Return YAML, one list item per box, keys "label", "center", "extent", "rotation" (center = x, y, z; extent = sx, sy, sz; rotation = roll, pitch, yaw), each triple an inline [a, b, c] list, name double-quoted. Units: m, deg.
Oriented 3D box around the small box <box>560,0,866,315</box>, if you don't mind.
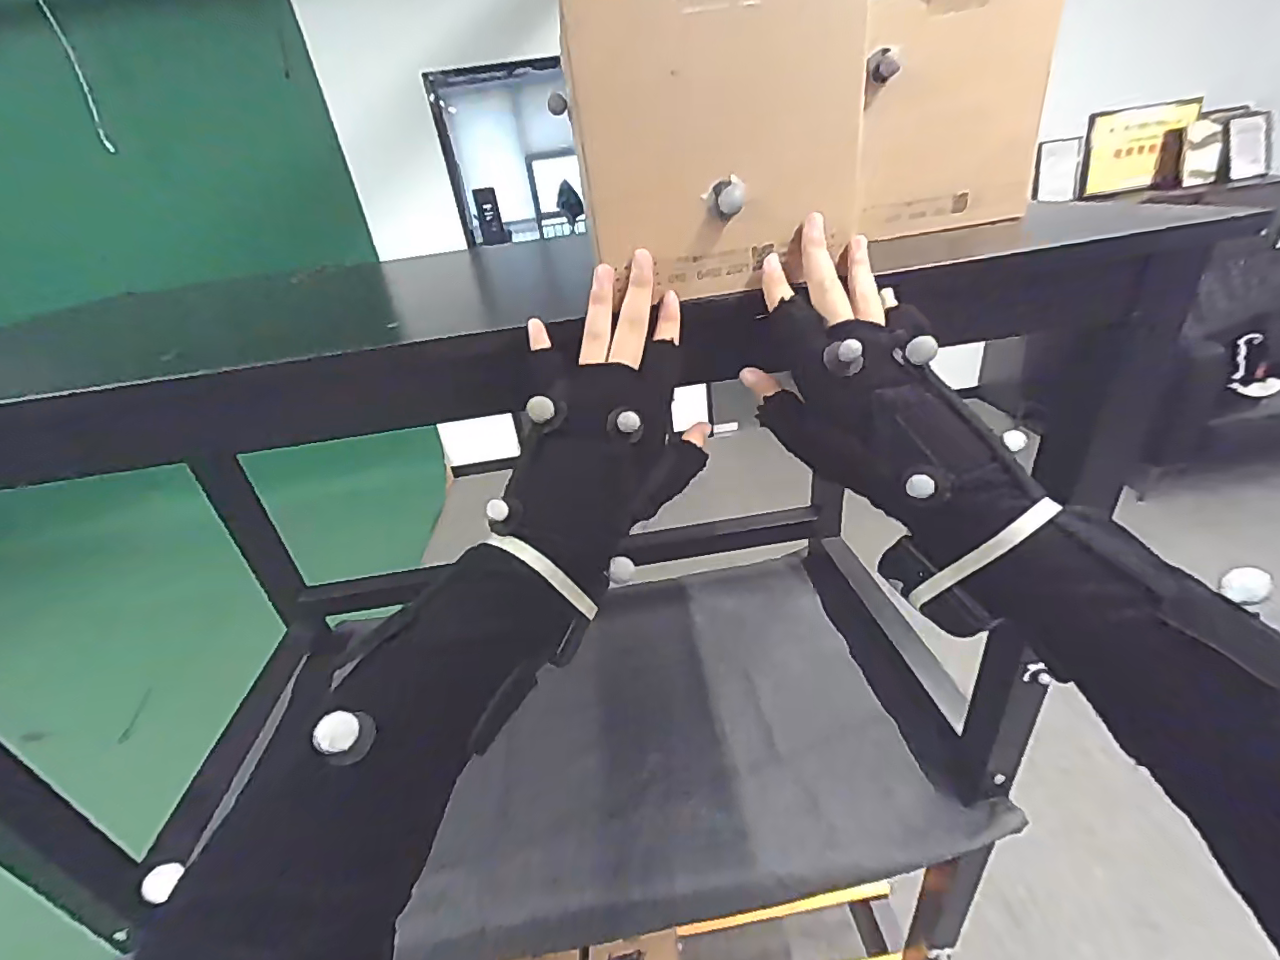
- label: "small box"
  center: [0.041, -0.228, 0.393]
  extent: [0.168, 0.176, 0.179]
  rotation: [-10, 30, -1]
